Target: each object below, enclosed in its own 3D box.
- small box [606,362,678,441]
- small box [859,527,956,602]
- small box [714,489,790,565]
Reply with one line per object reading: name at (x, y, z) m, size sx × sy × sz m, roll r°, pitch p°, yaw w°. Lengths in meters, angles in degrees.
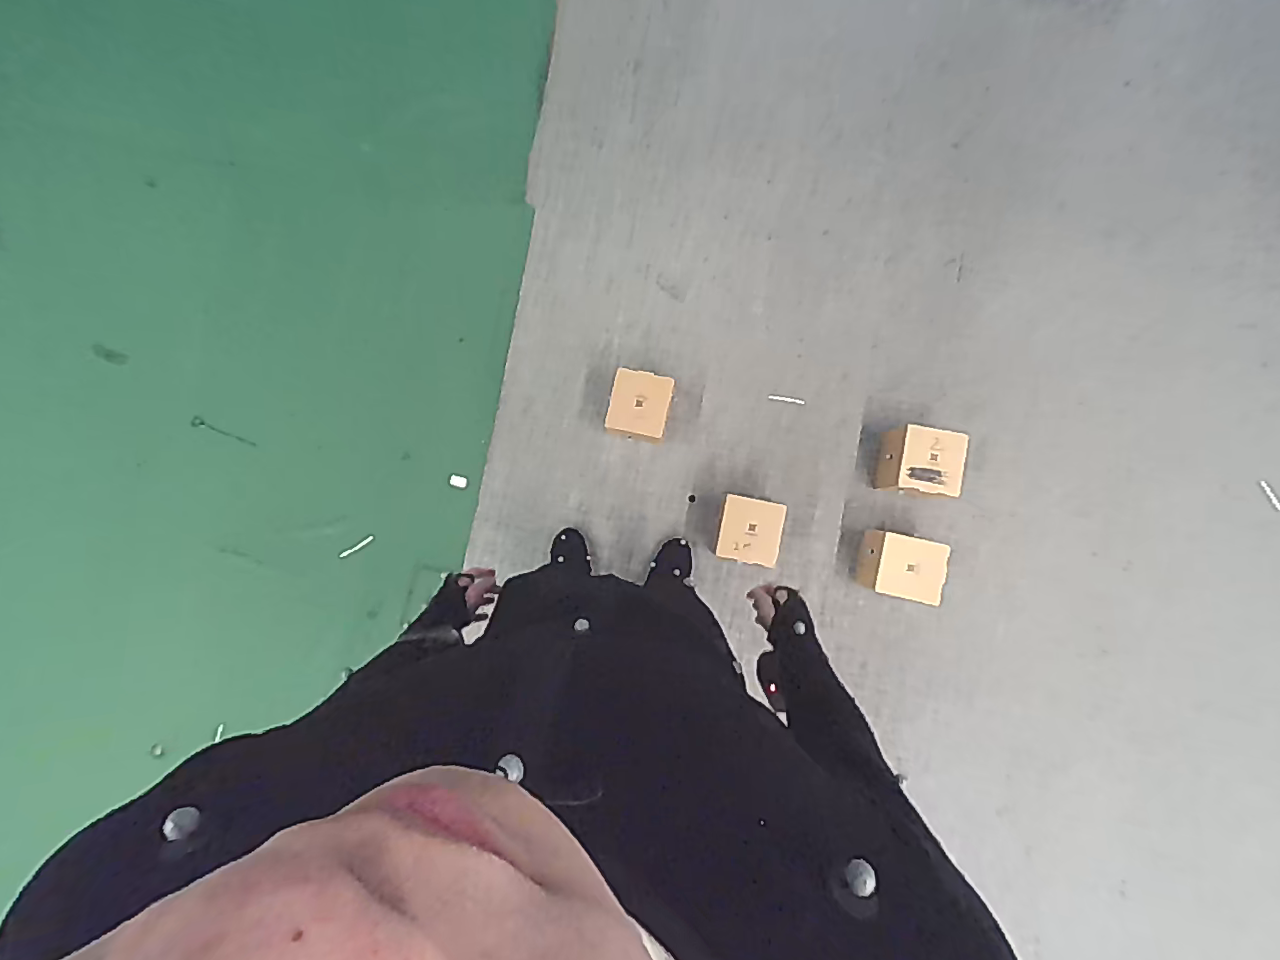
small box at (0.008, -0.221, 1.563) m, size 0.168 × 0.176 × 0.179 m, roll 13°, pitch 88°, yaw 4°
small box at (0.732, 0.229, 1.500) m, size 0.179 × 0.176 × 0.168 m, roll 12°, pitch 87°, yaw 3°
small box at (0.309, 0.131, 1.525) m, size 0.168 × 0.176 × 0.179 m, roll 12°, pitch 87°, yaw 4°
